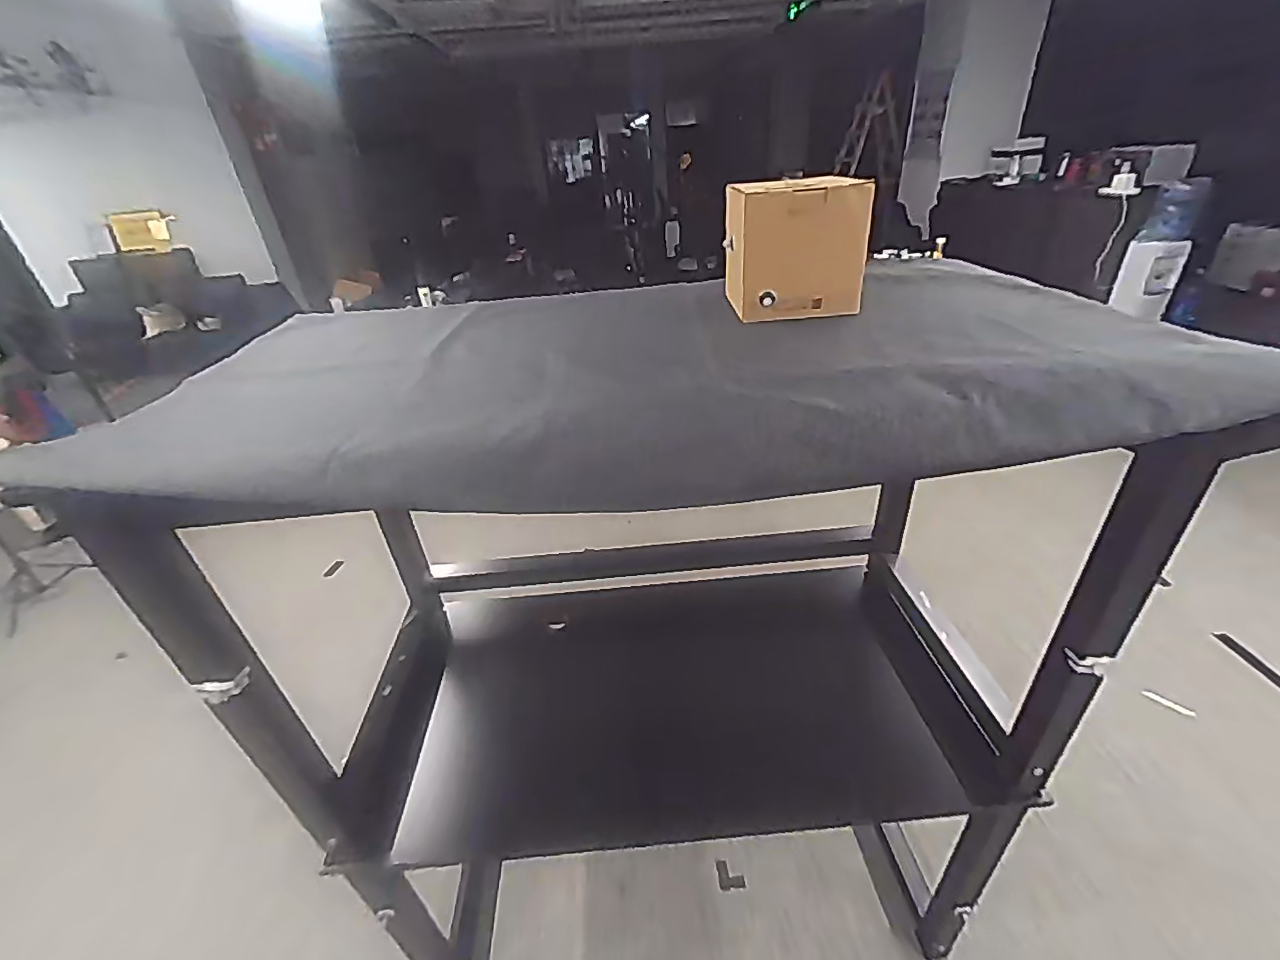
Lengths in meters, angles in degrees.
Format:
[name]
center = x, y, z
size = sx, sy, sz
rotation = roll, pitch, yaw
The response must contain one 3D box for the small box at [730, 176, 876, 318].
[small box]
center = 0.226, -0.340, 0.794
size = 0.168, 0.176, 0.179
rotation = -3, 31, 2
